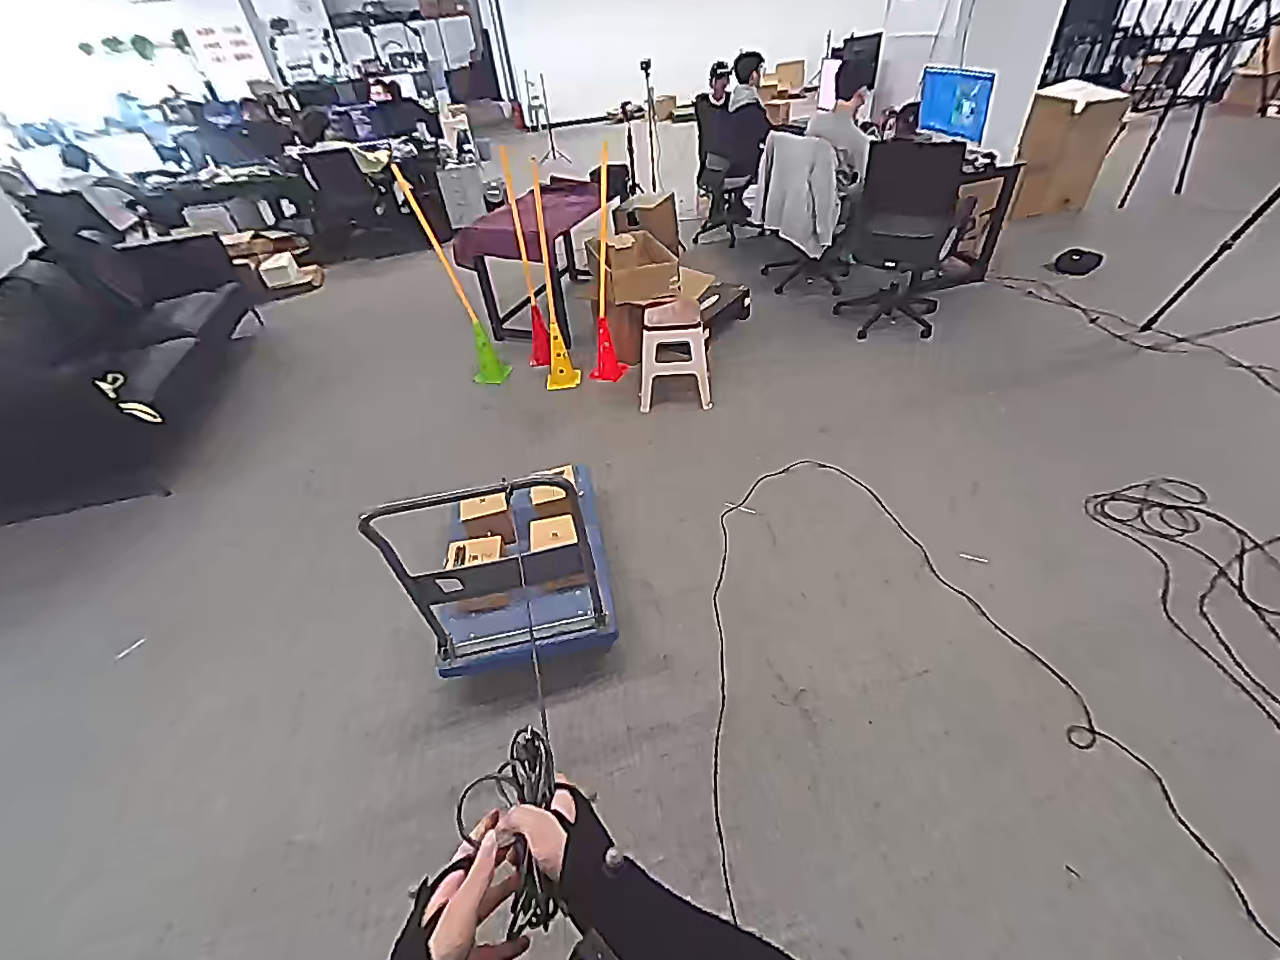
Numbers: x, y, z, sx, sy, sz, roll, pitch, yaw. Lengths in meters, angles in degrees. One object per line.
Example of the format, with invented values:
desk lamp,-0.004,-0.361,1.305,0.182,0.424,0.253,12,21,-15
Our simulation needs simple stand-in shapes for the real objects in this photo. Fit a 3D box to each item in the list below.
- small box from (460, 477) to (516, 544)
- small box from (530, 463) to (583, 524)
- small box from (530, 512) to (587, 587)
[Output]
small box,-0.565,0.119,2.013,0.168,0.176,0.179,-13,42,-8
small box,-0.315,0.065,2.039,0.168,0.176,0.179,-12,43,-5
small box,-0.277,0.236,1.846,0.168,0.176,0.179,-10,43,-4
